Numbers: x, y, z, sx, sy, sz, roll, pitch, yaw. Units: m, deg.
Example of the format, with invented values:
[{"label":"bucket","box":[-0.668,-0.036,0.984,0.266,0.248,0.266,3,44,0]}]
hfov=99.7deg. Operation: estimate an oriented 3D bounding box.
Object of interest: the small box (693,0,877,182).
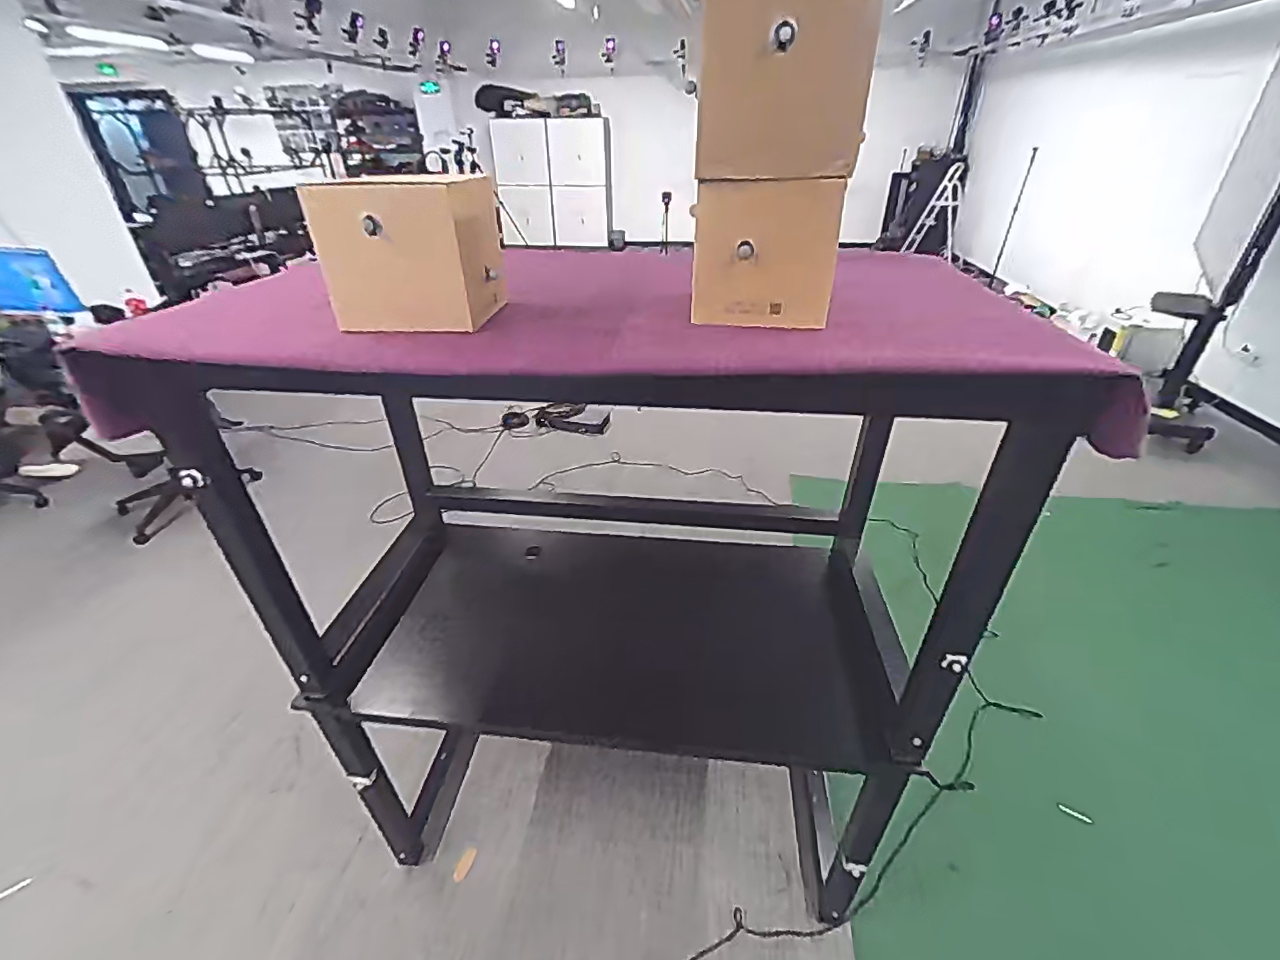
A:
[{"label":"small box","box":[0.151,-0.437,0.614,0.179,0.176,0.168,3,32,6]}]

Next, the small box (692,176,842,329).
[{"label":"small box","box":[0.158,-0.301,0.706,0.168,0.176,0.179,5,31,9]}]

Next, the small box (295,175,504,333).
[{"label":"small box","box":[-0.291,-0.294,0.700,0.179,0.176,0.168,1,32,3]}]
